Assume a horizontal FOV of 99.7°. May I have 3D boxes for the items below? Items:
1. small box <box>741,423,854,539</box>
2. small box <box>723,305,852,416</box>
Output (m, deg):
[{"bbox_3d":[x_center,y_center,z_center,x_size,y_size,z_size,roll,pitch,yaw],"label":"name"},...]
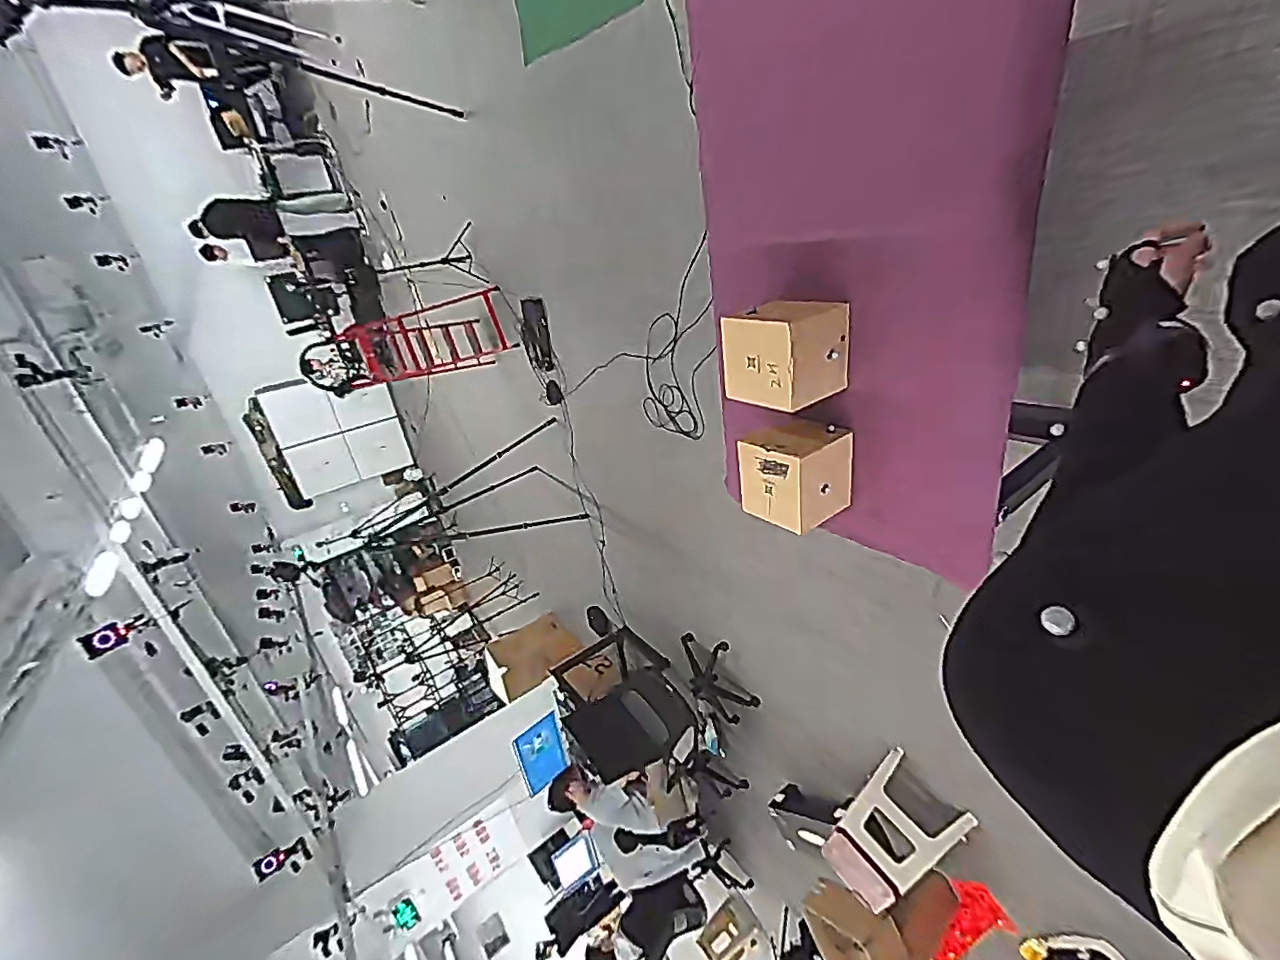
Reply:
[{"bbox_3d":[0.337,-0.007,1.152,0.168,0.176,0.179,25,132,50],"label":"small box"},{"bbox_3d":[0.287,-0.241,1.061,0.179,0.176,0.168,25,132,49],"label":"small box"}]
